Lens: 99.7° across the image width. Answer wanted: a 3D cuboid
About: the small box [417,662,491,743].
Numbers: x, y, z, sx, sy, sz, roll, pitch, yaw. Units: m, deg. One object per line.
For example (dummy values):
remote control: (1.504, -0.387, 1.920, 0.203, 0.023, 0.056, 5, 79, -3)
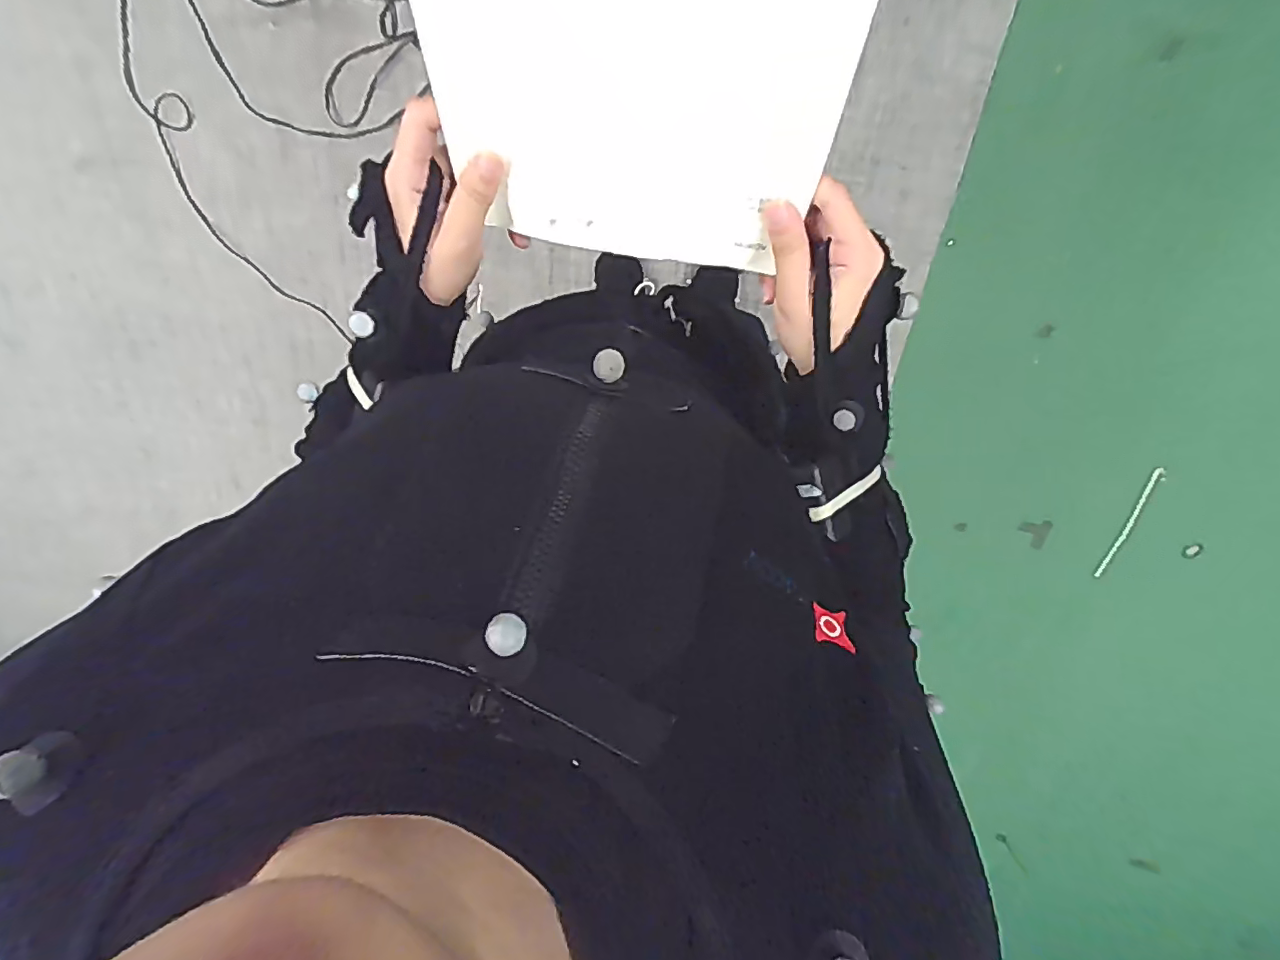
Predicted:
small box: (-0.584, 0.706, 1.730, 0.179, 0.176, 0.168, 6, 115, 4)
